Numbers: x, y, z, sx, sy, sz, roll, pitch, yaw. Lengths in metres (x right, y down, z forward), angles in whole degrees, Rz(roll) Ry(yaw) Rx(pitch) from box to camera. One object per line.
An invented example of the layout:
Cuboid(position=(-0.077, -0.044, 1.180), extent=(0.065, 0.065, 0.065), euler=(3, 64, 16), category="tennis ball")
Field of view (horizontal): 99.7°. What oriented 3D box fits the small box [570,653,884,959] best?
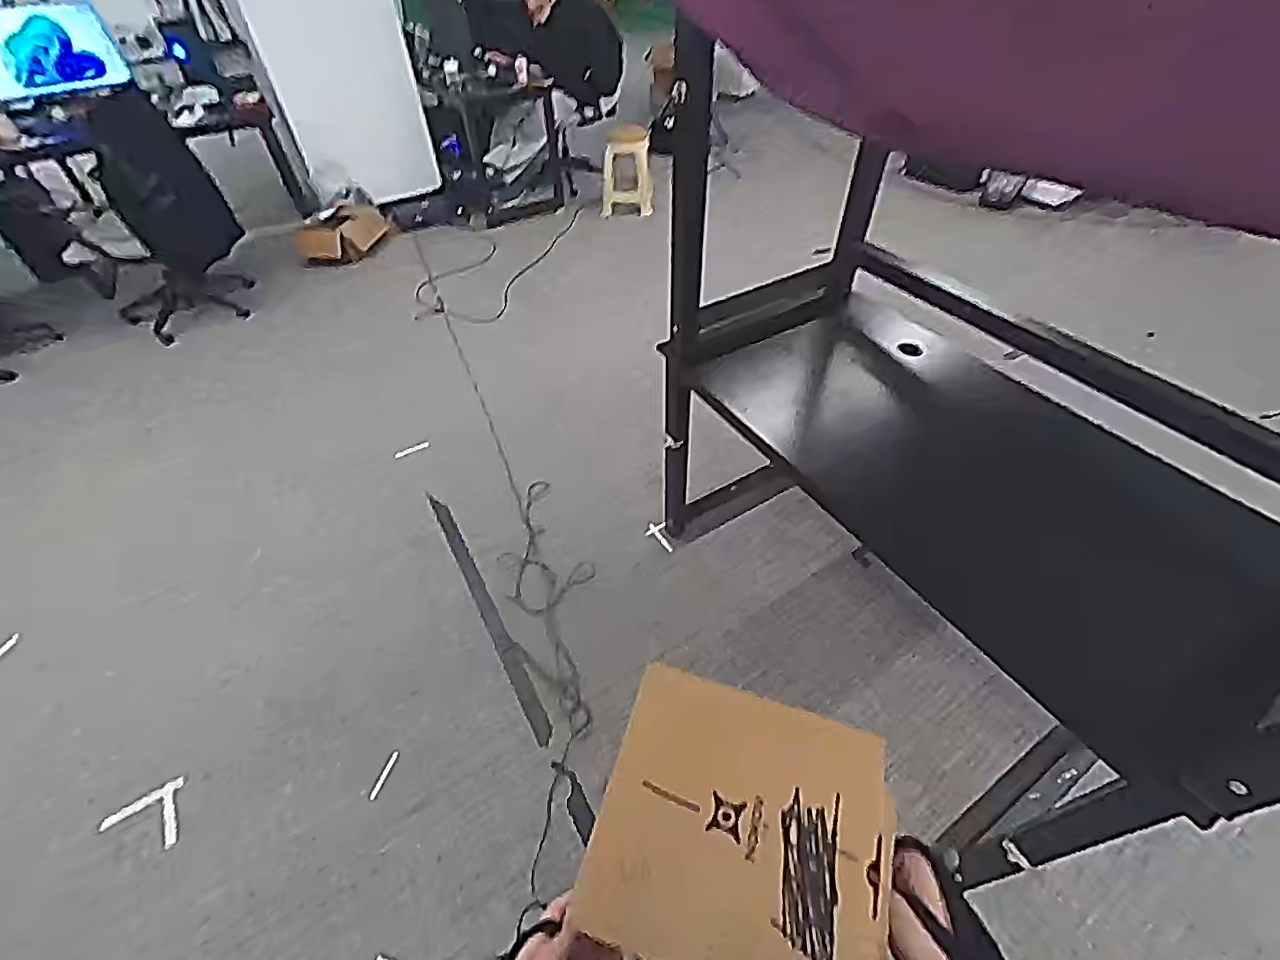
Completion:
Cuboid(position=(0.060, 0.262, 0.414), extent=(0.179, 0.176, 0.168), euler=(18, 54, 8), category="small box")
